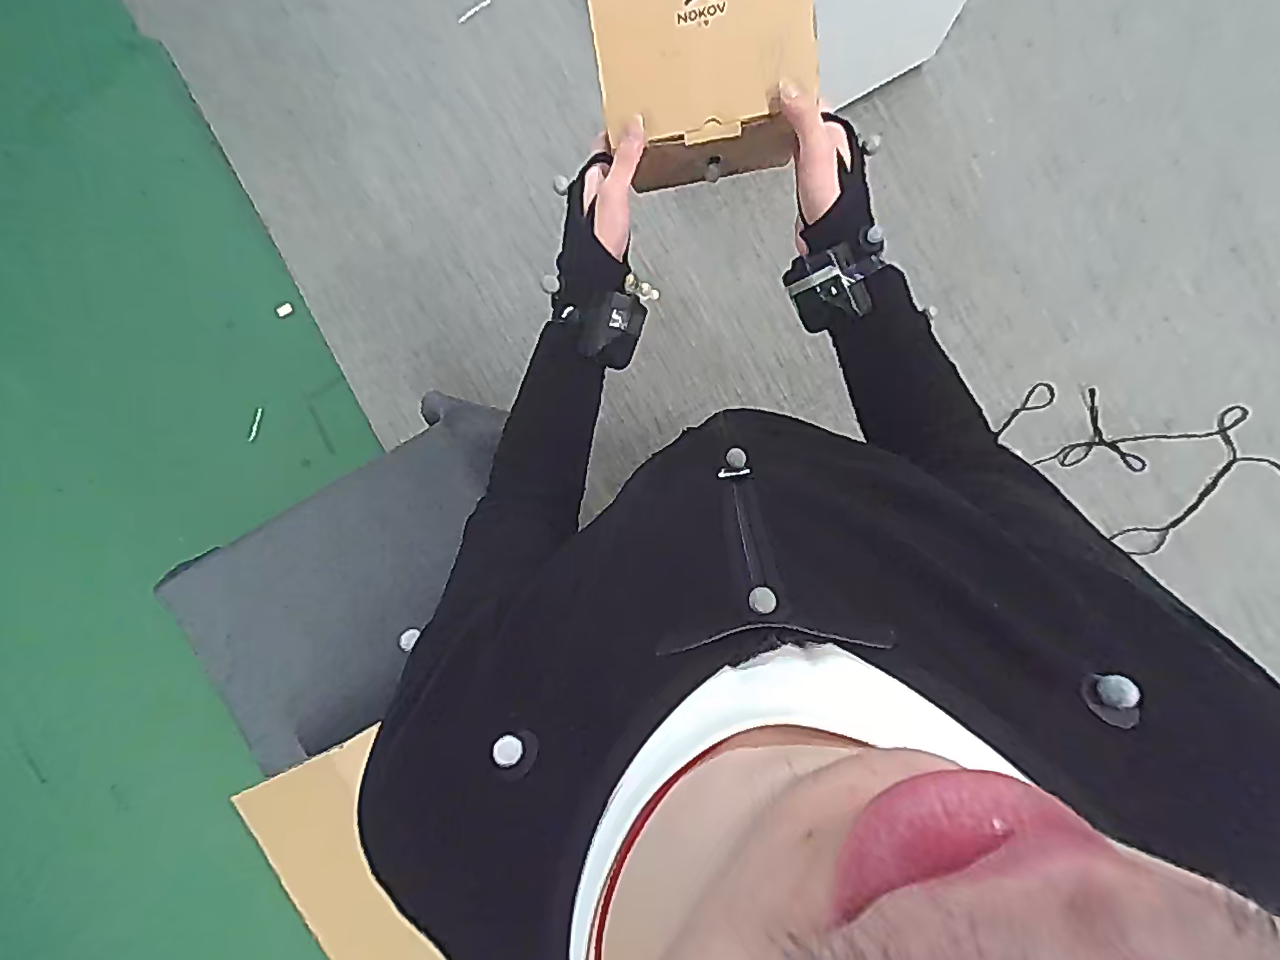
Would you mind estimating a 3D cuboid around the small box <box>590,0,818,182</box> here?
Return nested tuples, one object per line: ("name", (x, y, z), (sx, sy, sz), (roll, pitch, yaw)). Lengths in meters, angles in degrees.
("small box", (0.056, -0.385, 0.480), (0.168, 0.176, 0.179), (-8, 106, 11))
